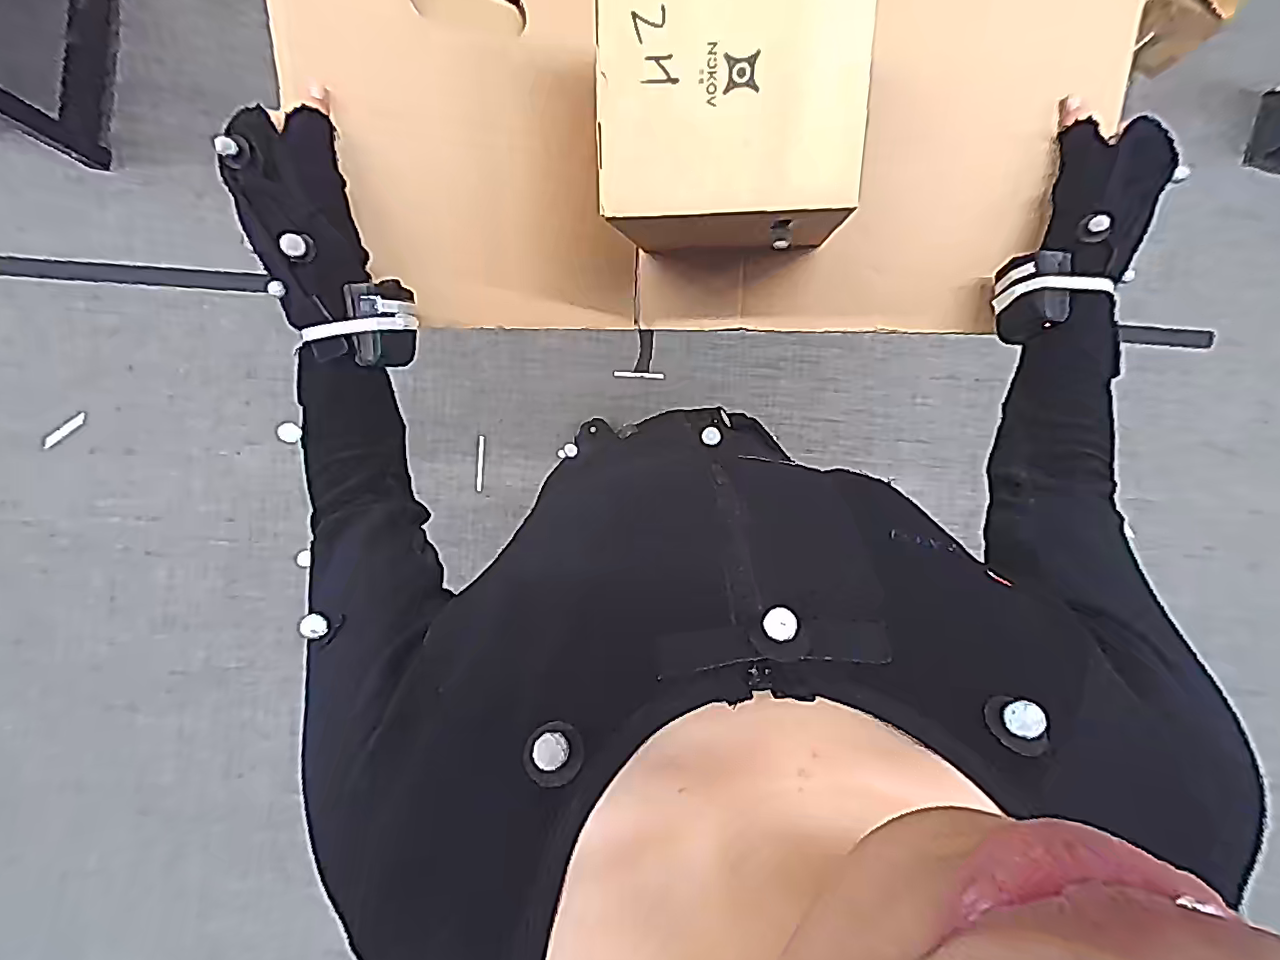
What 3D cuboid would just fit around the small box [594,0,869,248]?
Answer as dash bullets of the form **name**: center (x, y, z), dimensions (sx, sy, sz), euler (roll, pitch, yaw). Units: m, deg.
- **small box**: center (0.069, -0.285, 0.430), dimensions (0.179, 0.176, 0.168), euler (3, 106, 10)
